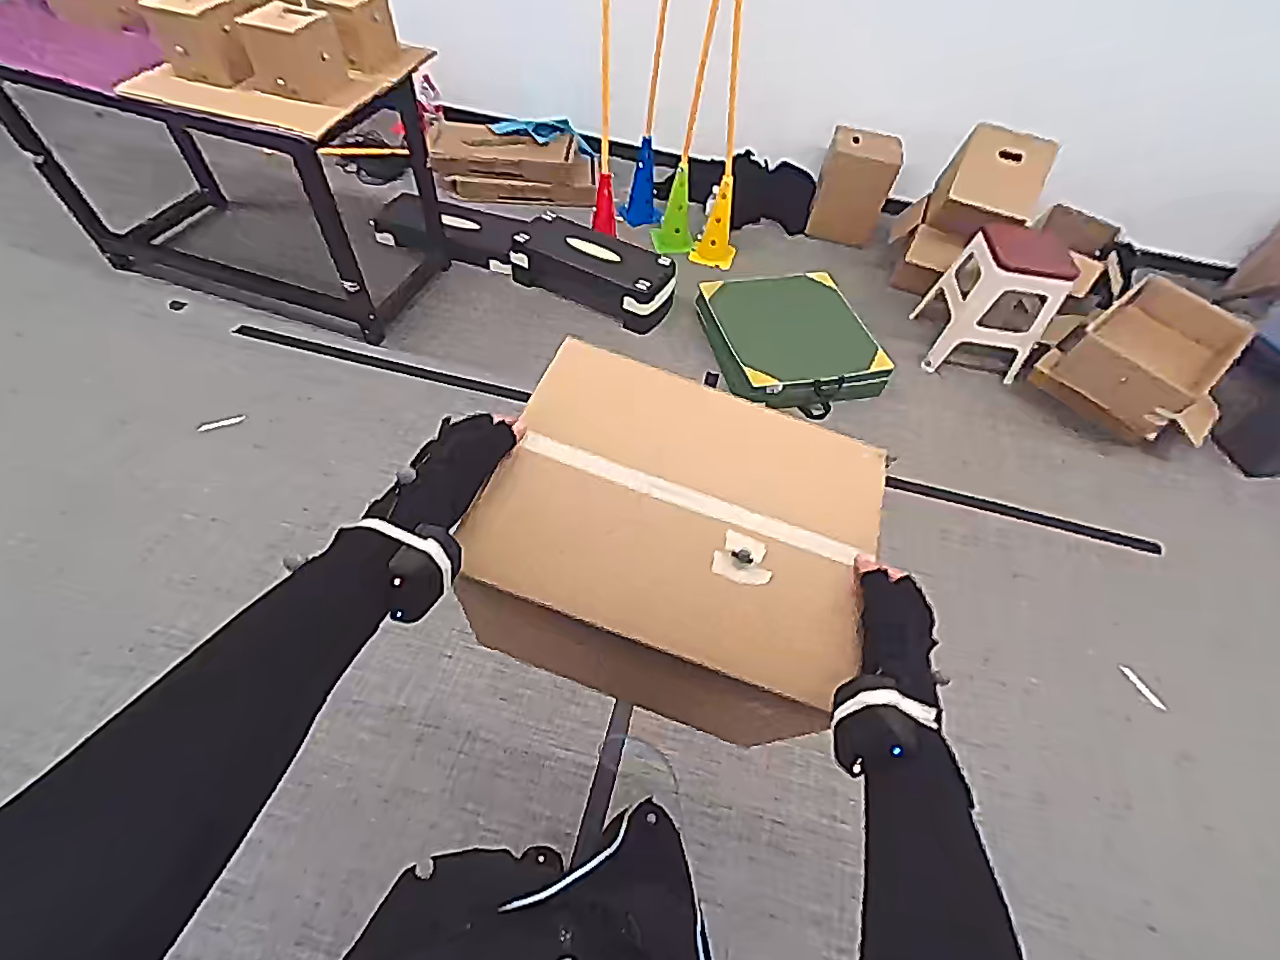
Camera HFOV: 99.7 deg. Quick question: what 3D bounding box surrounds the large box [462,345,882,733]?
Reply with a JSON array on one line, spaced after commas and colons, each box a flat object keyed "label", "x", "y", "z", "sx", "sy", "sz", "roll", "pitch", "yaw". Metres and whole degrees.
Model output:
[{"label": "large box", "x": 0.036, "y": 0.093, "z": 0.708, "sx": 0.408, "sy": 0.320, "sz": 0.320, "roll": 21, "pitch": 60, "yaw": 2}]
